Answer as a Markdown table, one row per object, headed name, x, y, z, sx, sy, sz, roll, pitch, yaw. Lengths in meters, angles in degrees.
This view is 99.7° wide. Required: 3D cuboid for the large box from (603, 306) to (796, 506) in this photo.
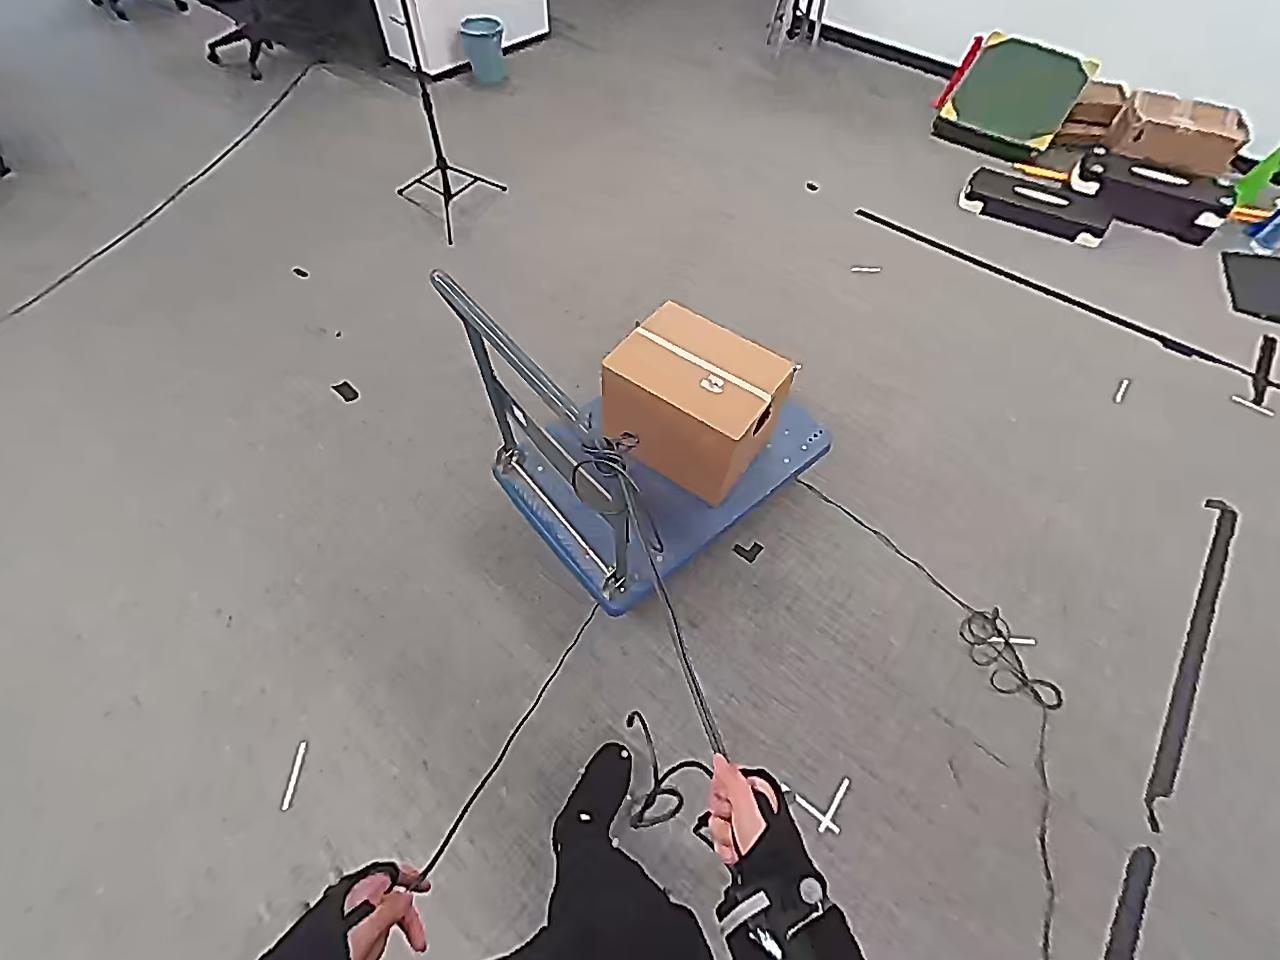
| name | x | y | z | sx | sy | sz | roll | pitch | yaw |
| --- | --- | --- | --- | --- | --- | --- | --- | --- | --- |
| large box | 0.143 | -0.202 | 1.492 | 0.408 | 0.320 | 0.320 | 32 | 61 | 16 |
